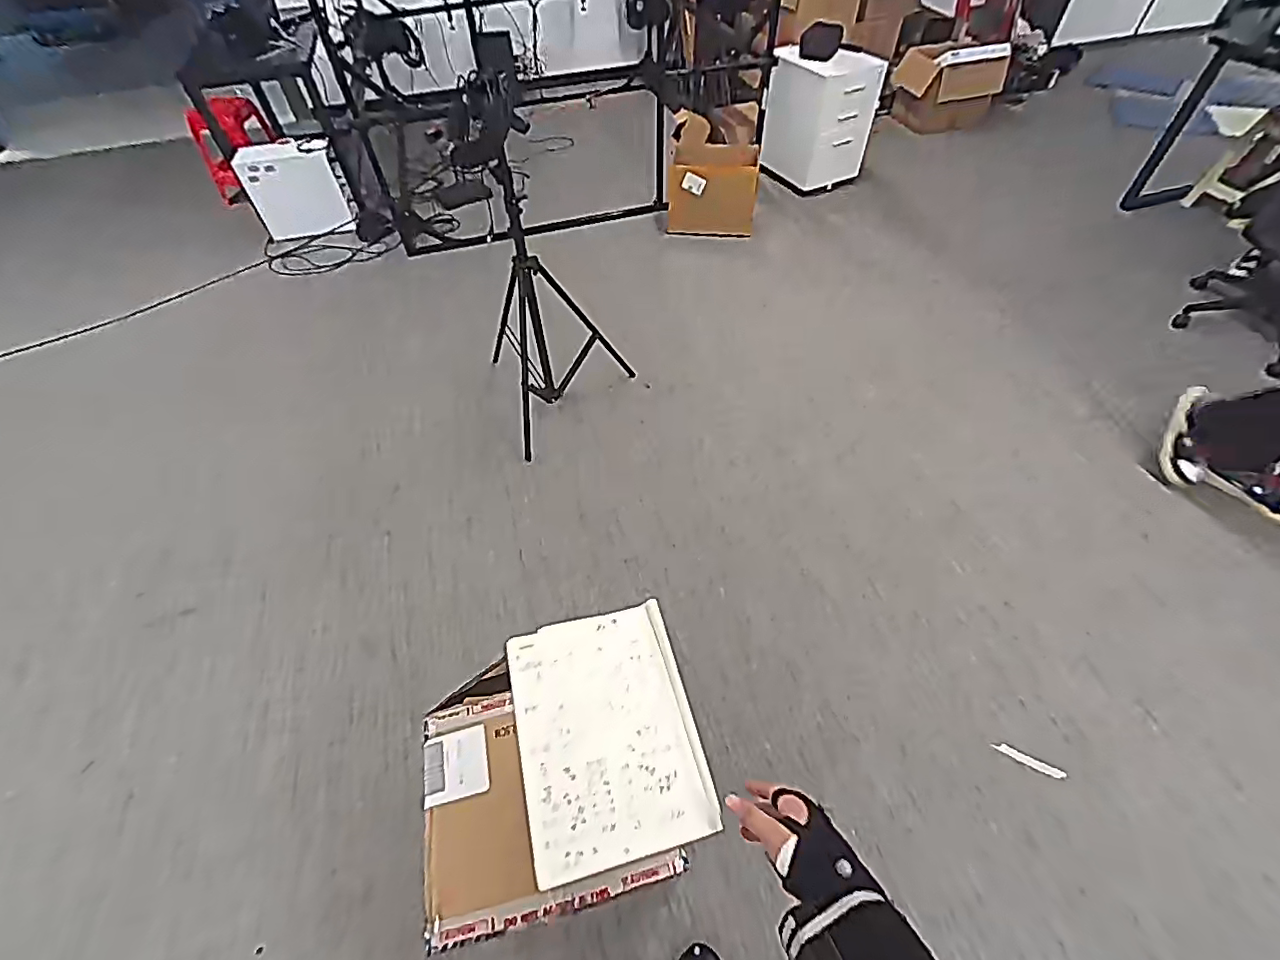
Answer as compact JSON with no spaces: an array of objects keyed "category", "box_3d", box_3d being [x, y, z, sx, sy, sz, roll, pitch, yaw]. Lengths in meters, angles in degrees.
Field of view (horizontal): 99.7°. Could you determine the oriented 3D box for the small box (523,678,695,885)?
[{"category":"small box","box_3d":[-0.043,0.376,0.672,0.168,0.176,0.179,-12,54,-10]}]
